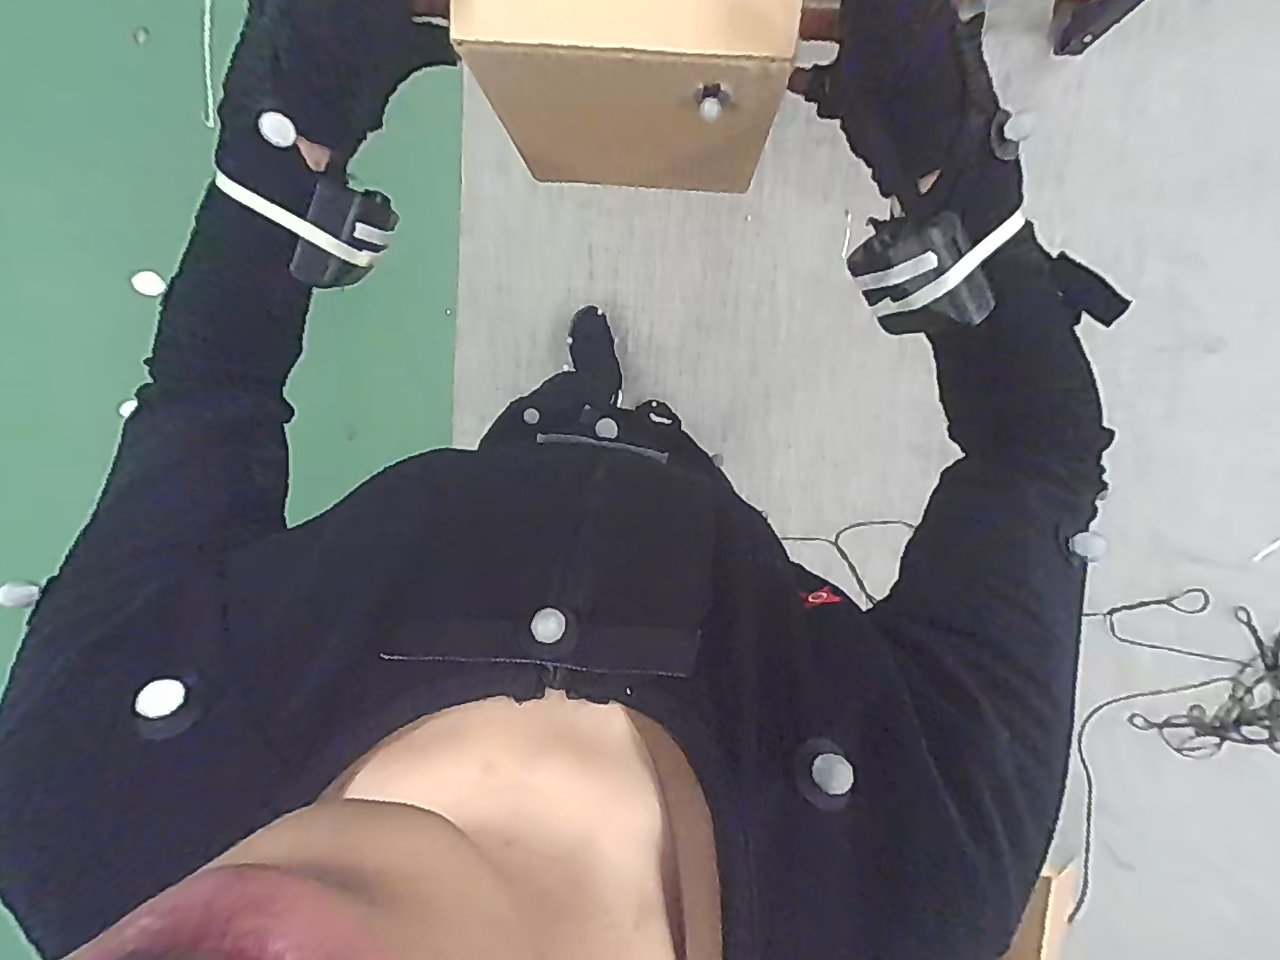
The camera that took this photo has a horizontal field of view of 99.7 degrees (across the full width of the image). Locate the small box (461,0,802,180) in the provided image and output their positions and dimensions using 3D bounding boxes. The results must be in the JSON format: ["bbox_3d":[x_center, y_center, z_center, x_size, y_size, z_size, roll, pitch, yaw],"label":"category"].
[{"bbox_3d":[0.002,-0.313,0.346,0.179,0.176,0.168,4,98,1],"label":"small box"}]
